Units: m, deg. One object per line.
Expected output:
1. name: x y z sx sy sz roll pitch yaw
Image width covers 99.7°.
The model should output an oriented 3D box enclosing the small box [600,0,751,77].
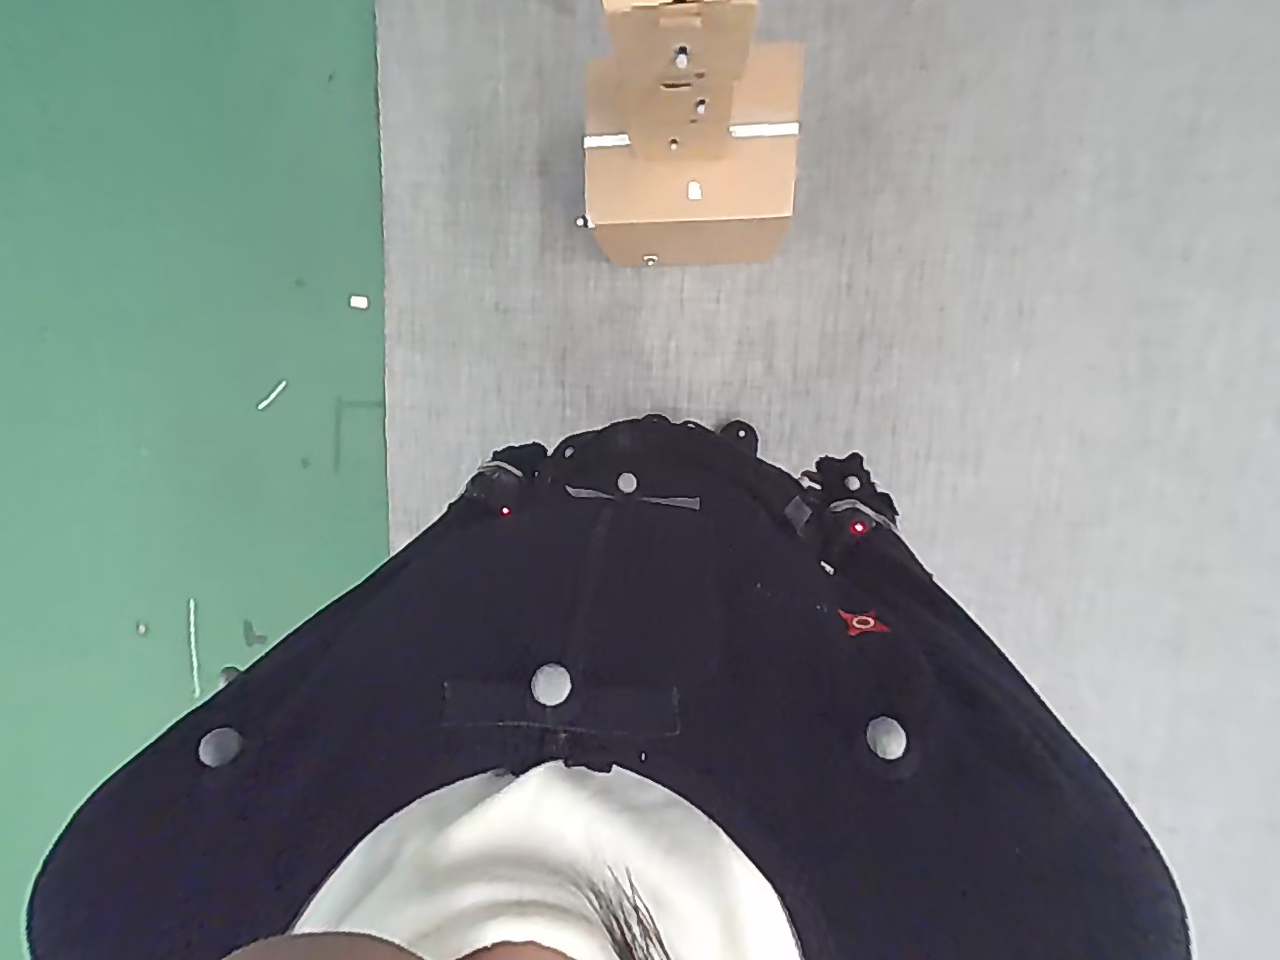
1. small box: 0.048 -0.600 0.629 0.168 0.176 0.179 2 104 7

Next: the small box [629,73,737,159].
1. small box: 0.075 -0.681 0.943 0.179 0.176 0.168 0 103 7

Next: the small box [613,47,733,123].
1. small box: 0.055 -0.644 0.786 0.168 0.176 0.179 1 102 6
